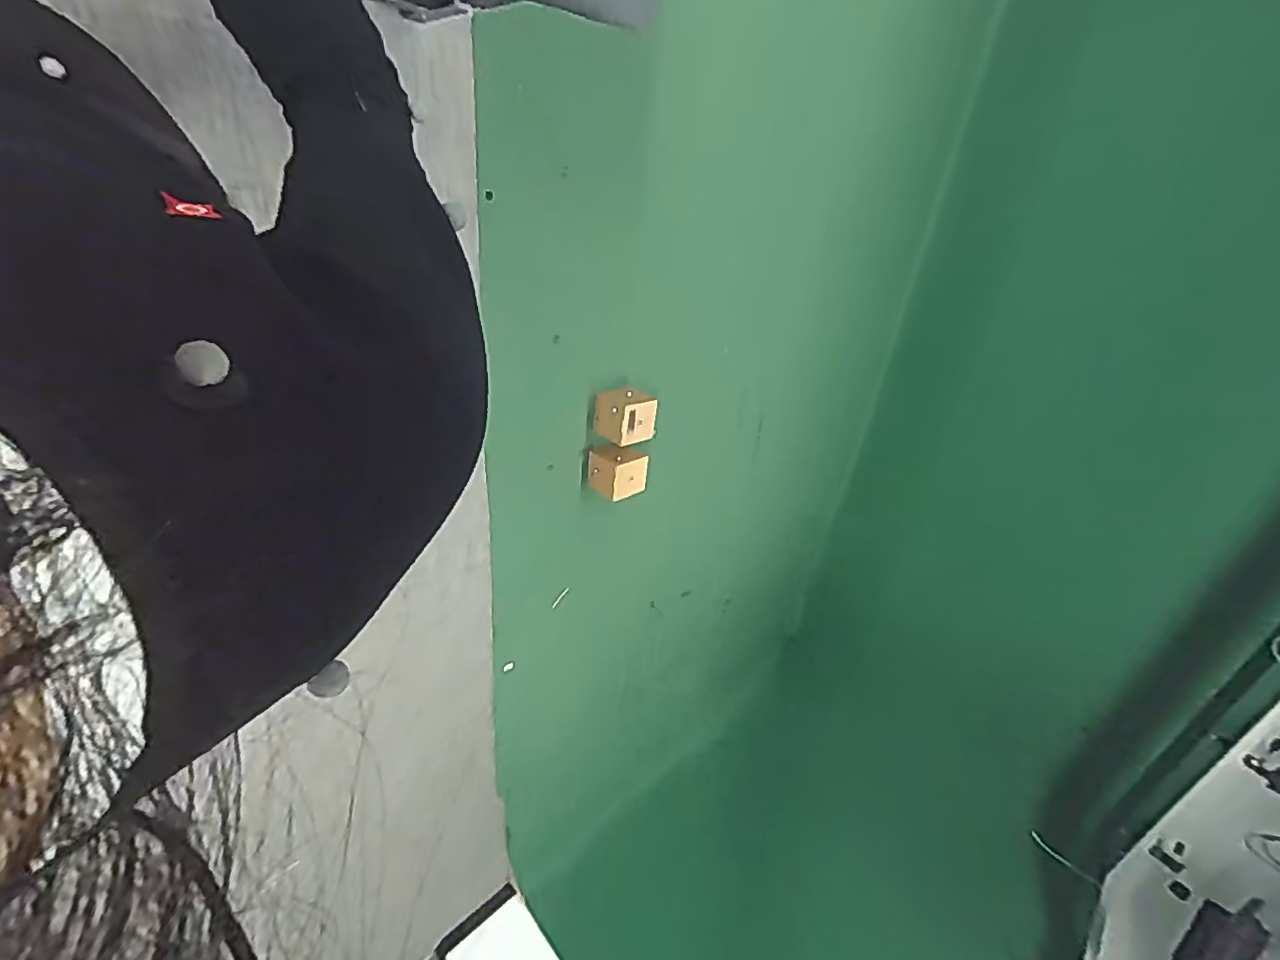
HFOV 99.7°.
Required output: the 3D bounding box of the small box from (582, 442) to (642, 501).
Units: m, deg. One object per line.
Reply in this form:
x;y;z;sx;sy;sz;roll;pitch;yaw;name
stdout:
-0.116;-0.042;2.228;0.179;0.176;0.168;-20;129;-39;small box
